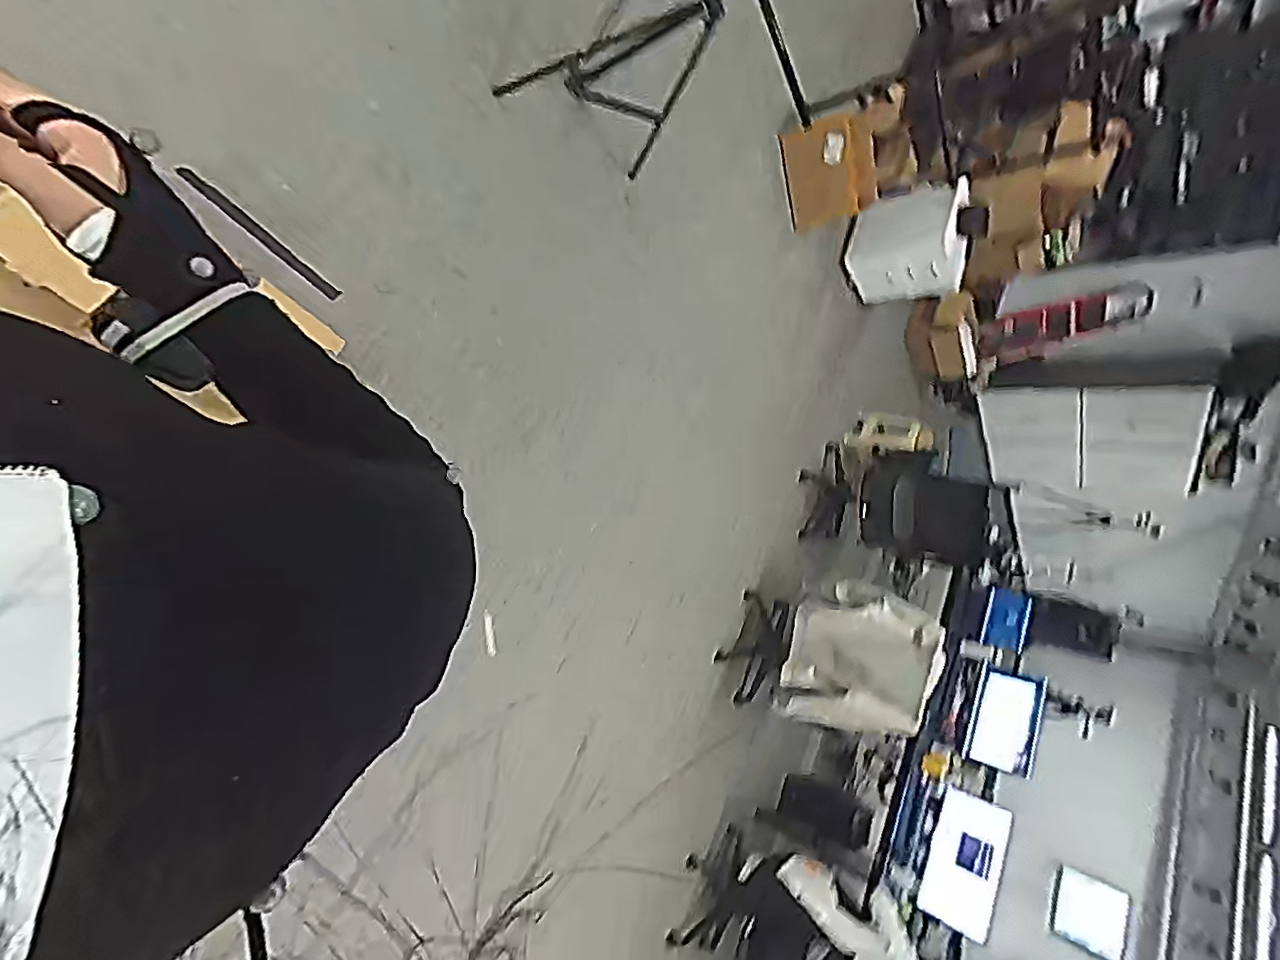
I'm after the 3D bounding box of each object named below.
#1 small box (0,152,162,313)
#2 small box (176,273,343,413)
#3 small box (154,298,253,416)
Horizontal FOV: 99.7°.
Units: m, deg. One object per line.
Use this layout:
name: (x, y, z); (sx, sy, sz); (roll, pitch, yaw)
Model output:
small box: (-0.957, -0.399, 0.903); (0.168, 0.176, 0.179); (48, 63, -42)
small box: (-0.687, -0.240, 0.974); (0.168, 0.176, 0.179); (45, 63, -40)
small box: (-0.818, -0.247, 1.077); (0.168, 0.176, 0.179); (50, 61, -38)
